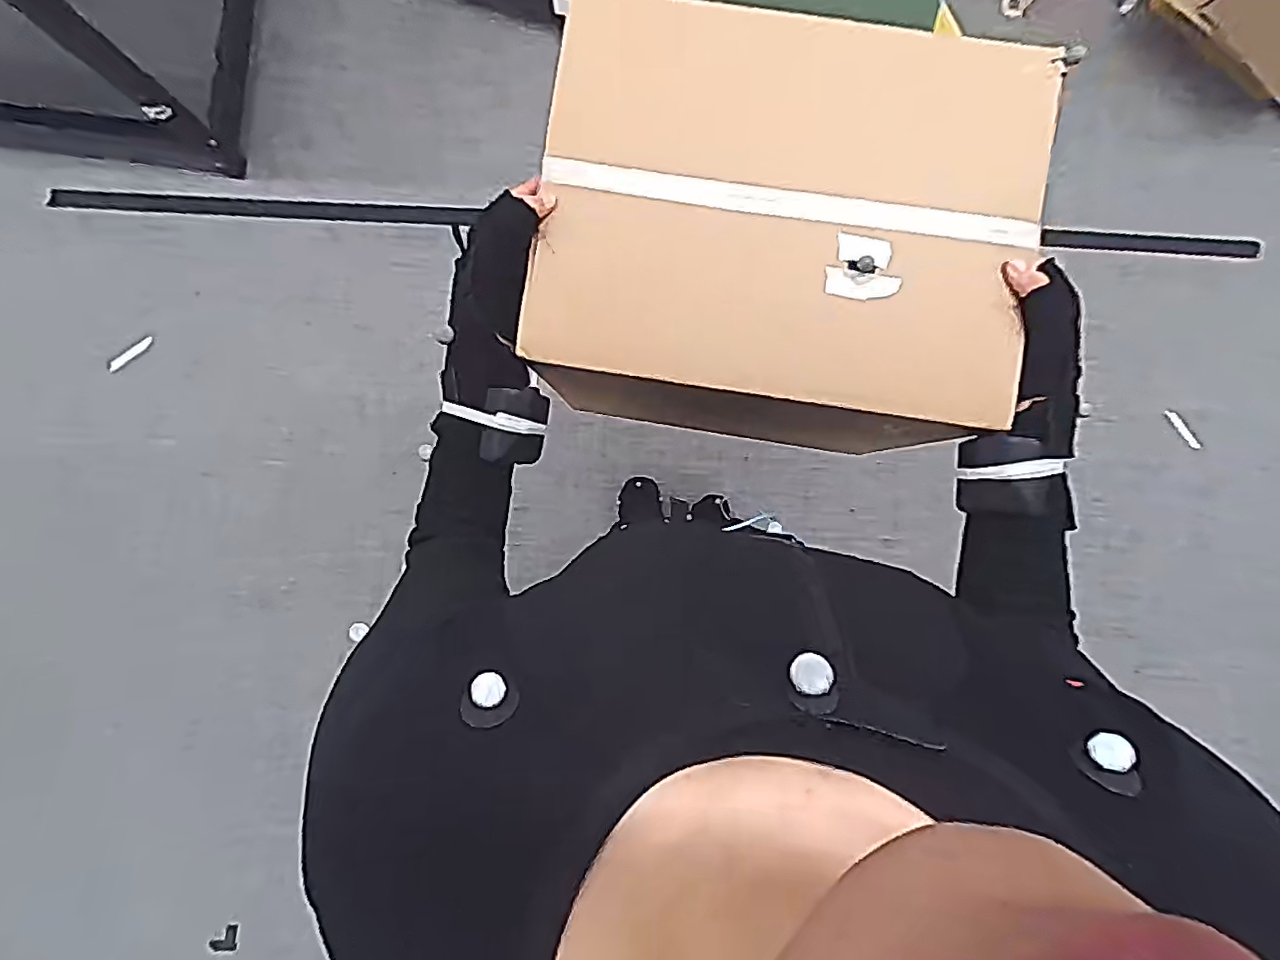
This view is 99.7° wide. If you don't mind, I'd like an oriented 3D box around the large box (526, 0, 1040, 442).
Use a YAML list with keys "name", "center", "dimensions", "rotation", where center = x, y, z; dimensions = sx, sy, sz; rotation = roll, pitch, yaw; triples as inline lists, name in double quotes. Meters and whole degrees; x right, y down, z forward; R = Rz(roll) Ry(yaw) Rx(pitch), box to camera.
- name: "large box"
  center: [0.119, -0.230, 0.601]
  dimensions: [0.408, 0.320, 0.320]
  rotation: [9, 91, 0]
